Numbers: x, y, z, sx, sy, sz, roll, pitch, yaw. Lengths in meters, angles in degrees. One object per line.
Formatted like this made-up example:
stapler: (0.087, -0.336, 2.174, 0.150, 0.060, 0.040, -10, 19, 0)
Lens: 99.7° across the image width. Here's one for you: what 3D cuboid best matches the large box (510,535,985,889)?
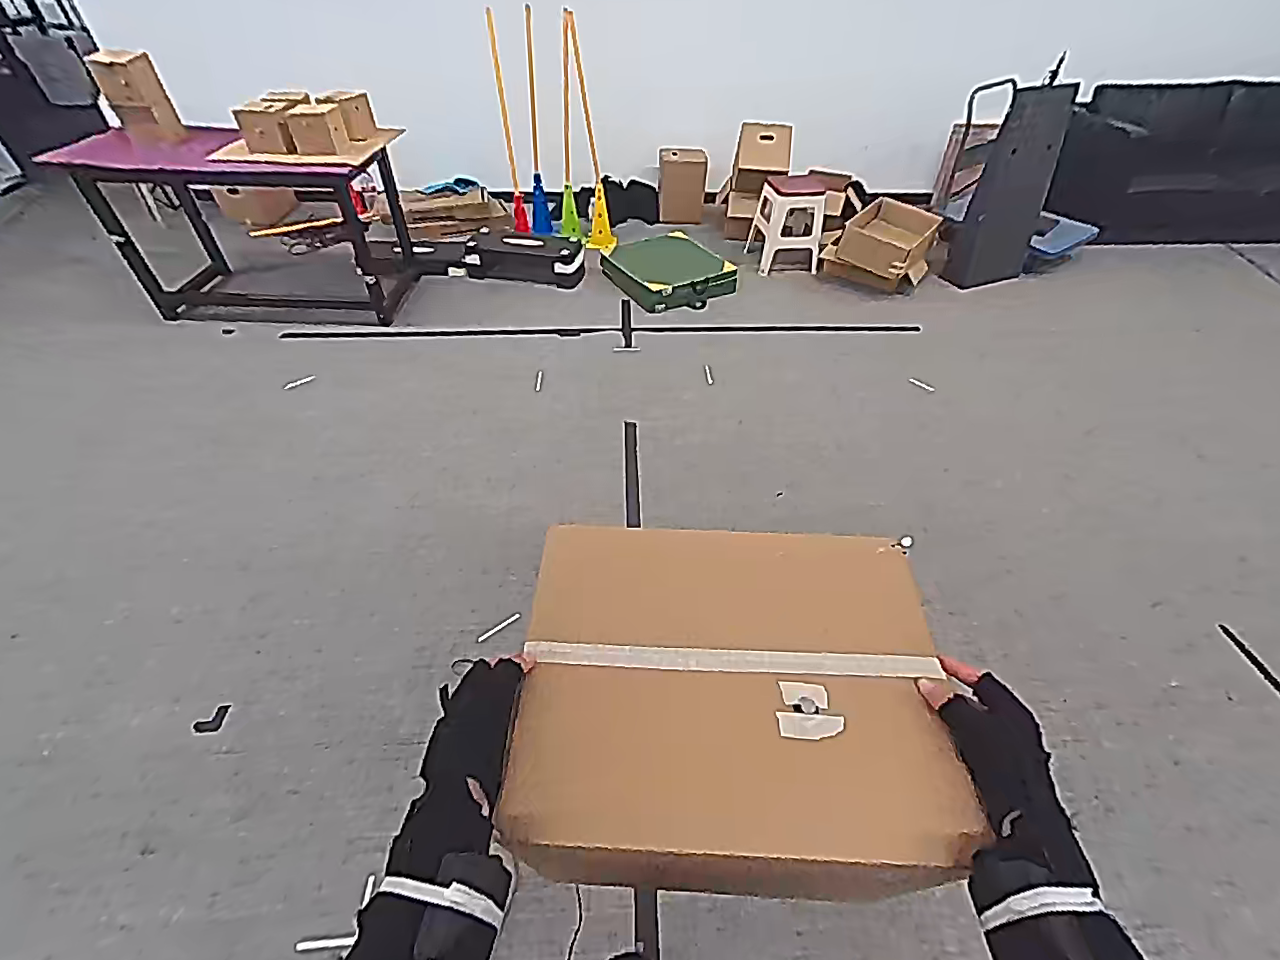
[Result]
large box: (0.091, 0.283, 0.654, 0.408, 0.320, 0.320, 2, 50, 2)
